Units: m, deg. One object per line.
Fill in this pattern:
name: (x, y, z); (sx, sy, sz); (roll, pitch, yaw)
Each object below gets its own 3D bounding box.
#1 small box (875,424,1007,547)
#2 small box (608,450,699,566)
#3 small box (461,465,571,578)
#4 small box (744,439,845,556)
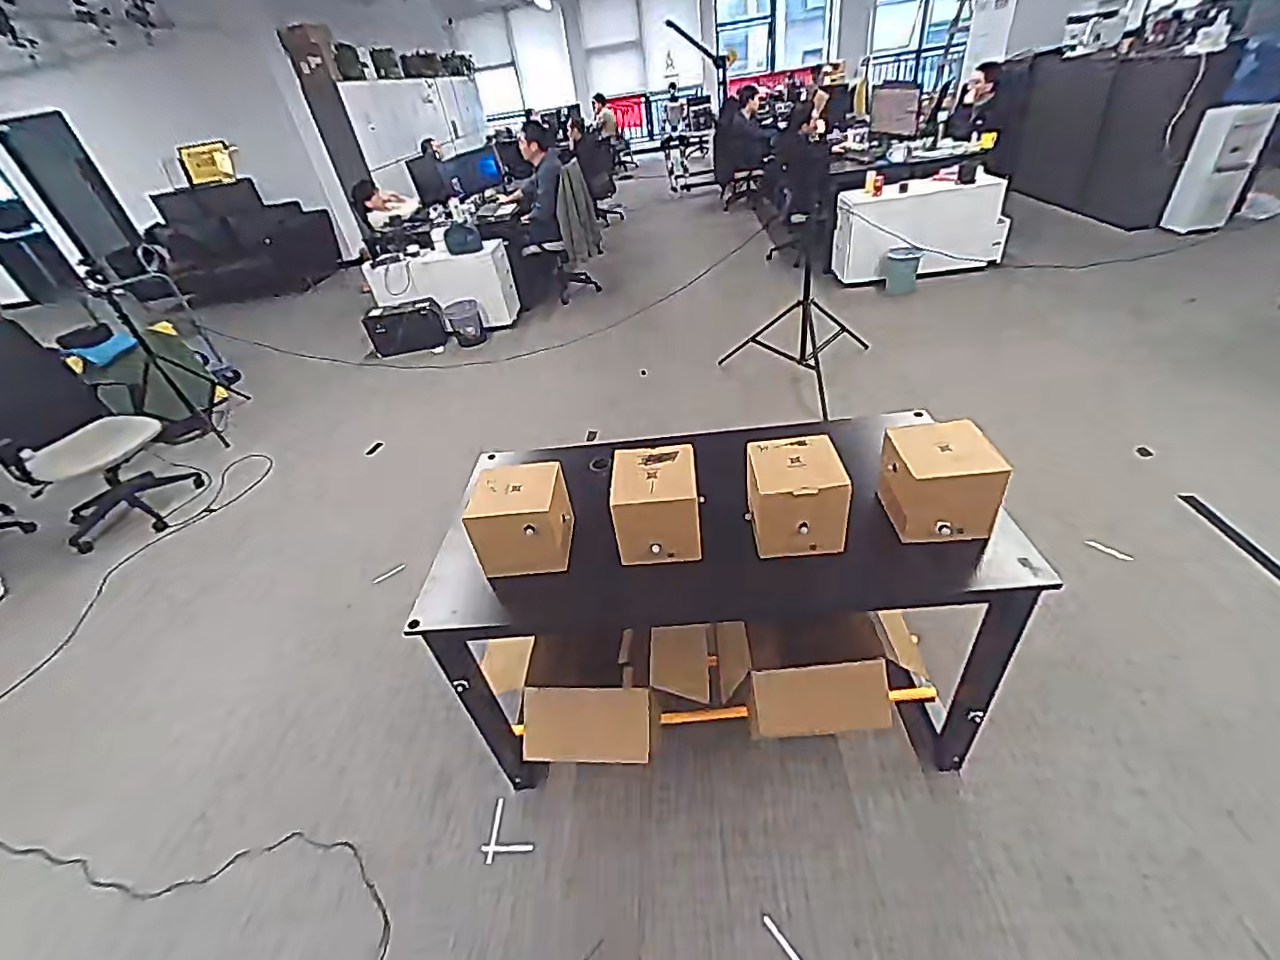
small box: (0.581, 0.011, 1.073); (0.168, 0.176, 0.179); (-6, 37, 7)
small box: (0.033, 0.059, 1.130); (0.168, 0.176, 0.179); (-5, 37, 6)
small box: (-0.250, 0.089, 1.148); (0.179, 0.176, 0.168); (-6, 36, 5)
small box: (0.306, 0.040, 1.096); (0.168, 0.176, 0.179); (-6, 37, 6)
